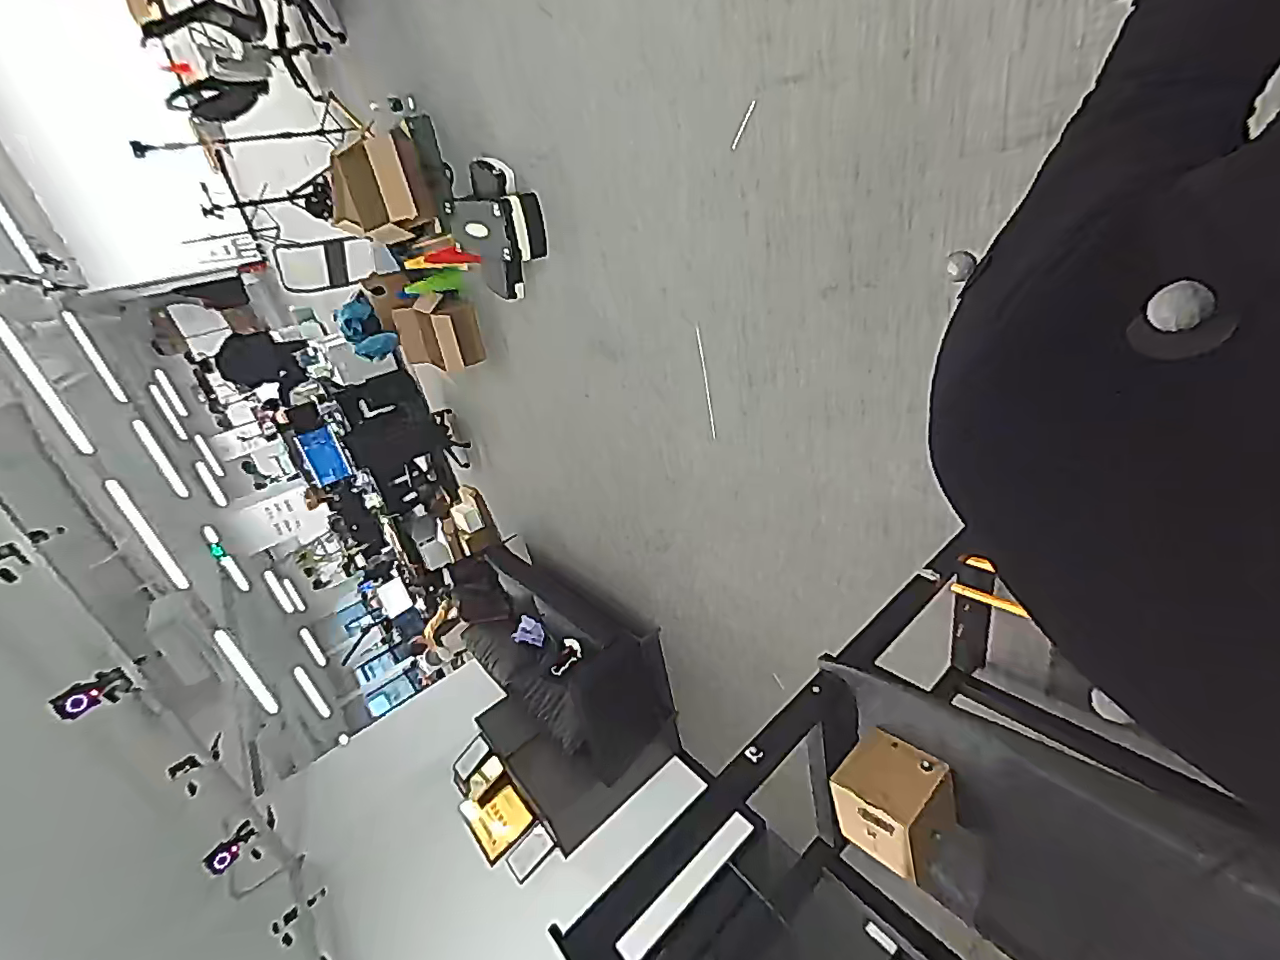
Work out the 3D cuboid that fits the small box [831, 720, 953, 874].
[{"bbox_3d":[0.523,0.640,1.116,0.168,0.176,0.179,13,127,52],"label":"small box"}]
